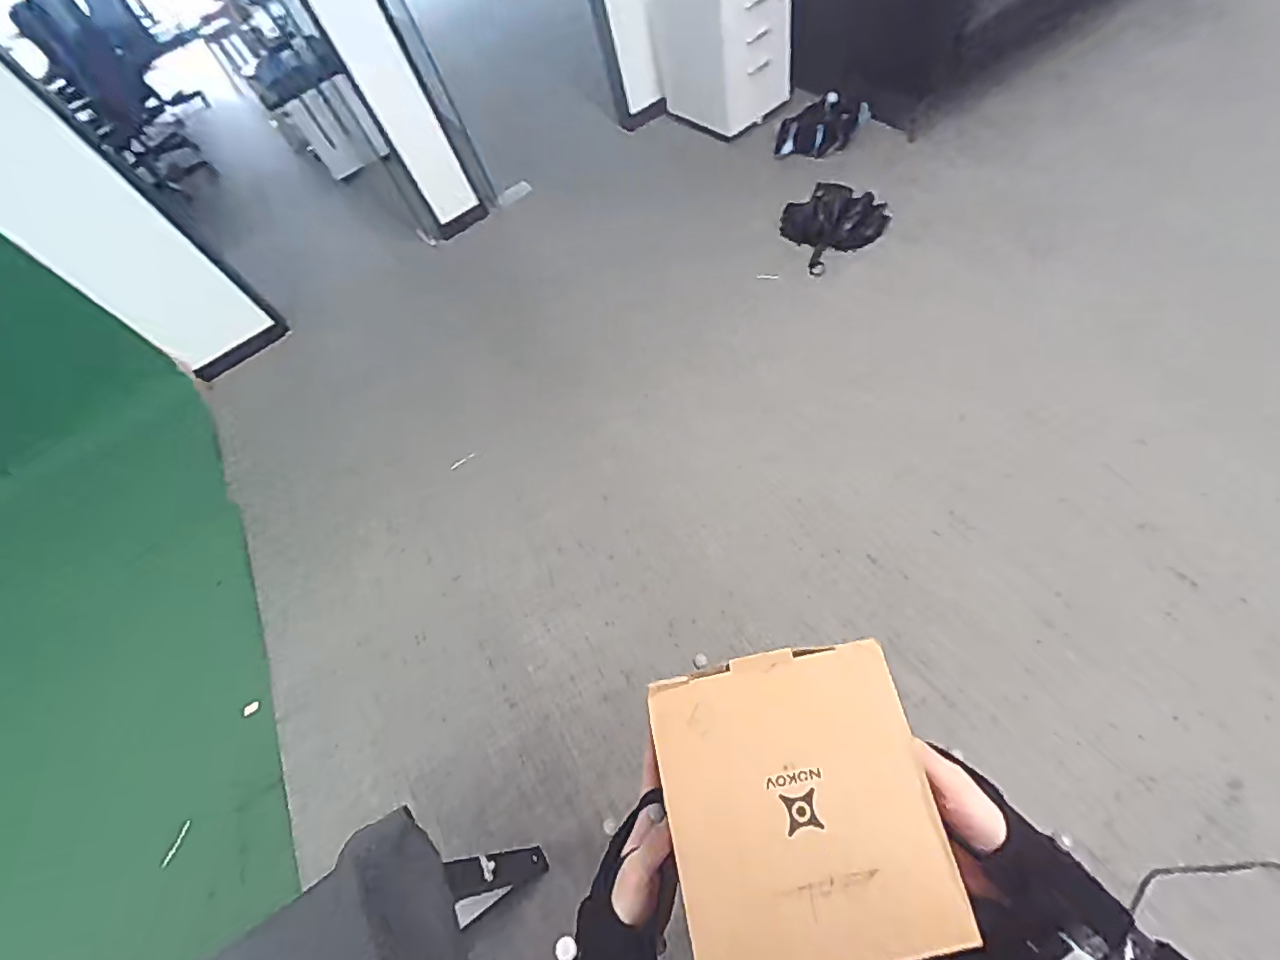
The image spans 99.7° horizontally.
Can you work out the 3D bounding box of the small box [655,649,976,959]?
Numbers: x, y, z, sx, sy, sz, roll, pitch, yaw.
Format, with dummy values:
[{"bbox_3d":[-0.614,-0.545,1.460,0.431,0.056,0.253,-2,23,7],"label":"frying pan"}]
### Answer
[{"bbox_3d":[0.103,0.236,0.413,0.168,0.176,0.179,-10,70,-1],"label":"small box"}]
